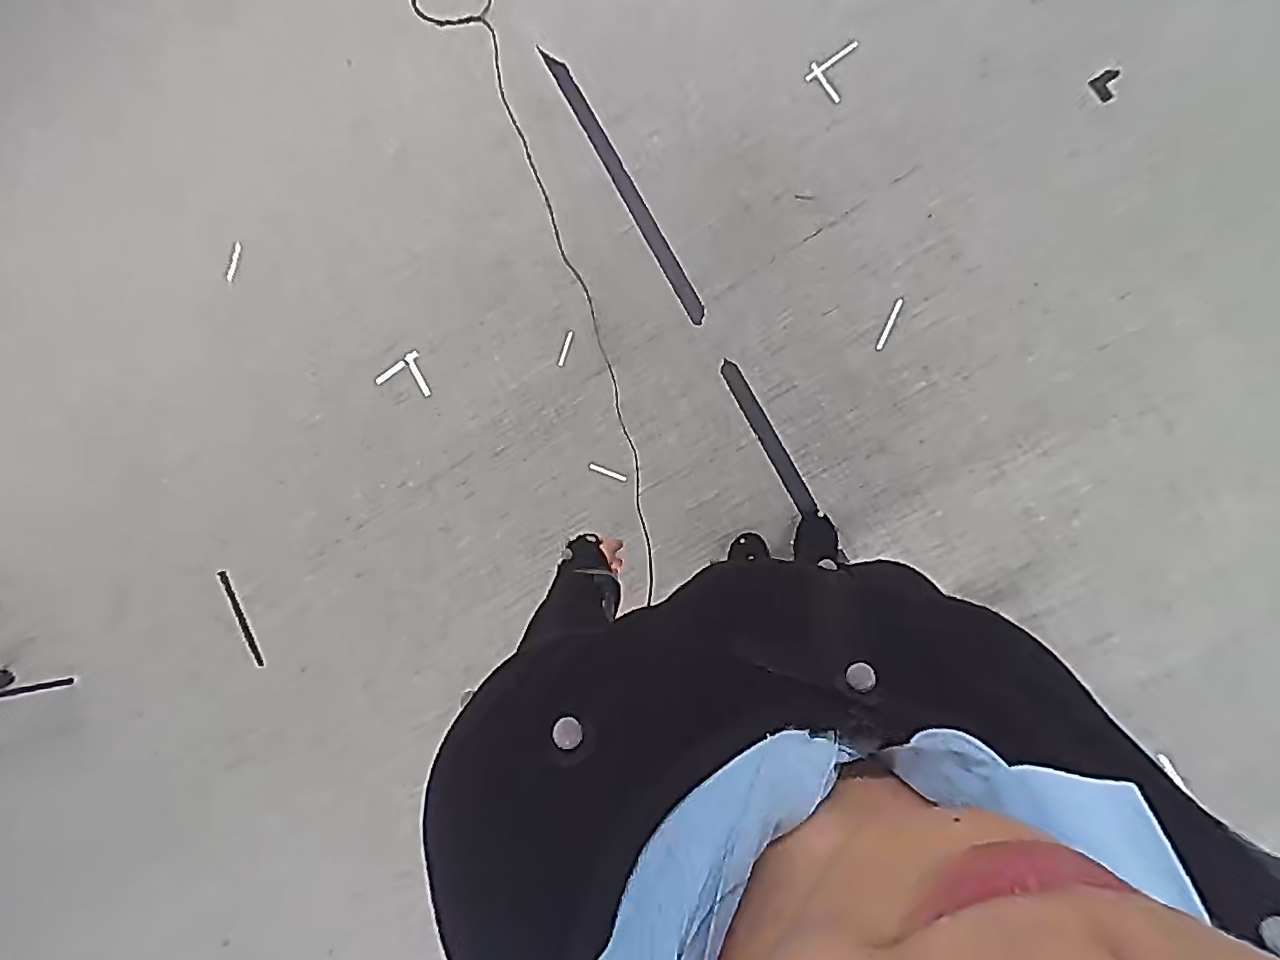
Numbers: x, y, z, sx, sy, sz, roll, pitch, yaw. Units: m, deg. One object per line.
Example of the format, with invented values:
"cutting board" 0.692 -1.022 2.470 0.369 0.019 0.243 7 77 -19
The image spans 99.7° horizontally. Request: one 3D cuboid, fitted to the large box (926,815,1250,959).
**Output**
"large box" 0.824 0.903 0.984 0.408 0.320 0.320 -28 83 11
